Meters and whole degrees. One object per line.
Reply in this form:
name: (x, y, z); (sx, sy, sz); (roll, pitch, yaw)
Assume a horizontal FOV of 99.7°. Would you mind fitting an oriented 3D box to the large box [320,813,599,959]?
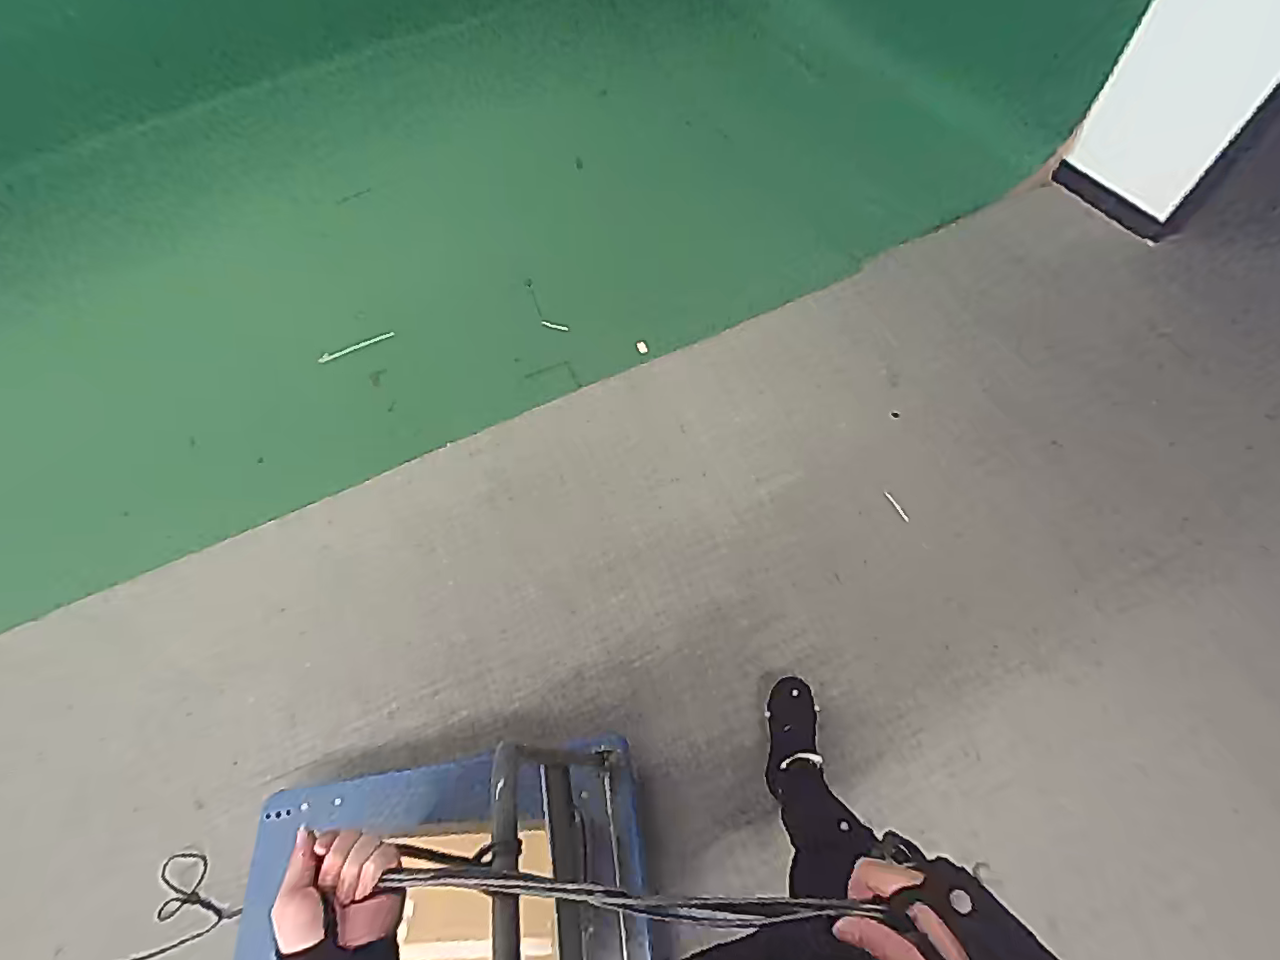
large box: (-0.299, 0.815, 0.984); (0.408, 0.320, 0.320); (-6, 61, 5)
